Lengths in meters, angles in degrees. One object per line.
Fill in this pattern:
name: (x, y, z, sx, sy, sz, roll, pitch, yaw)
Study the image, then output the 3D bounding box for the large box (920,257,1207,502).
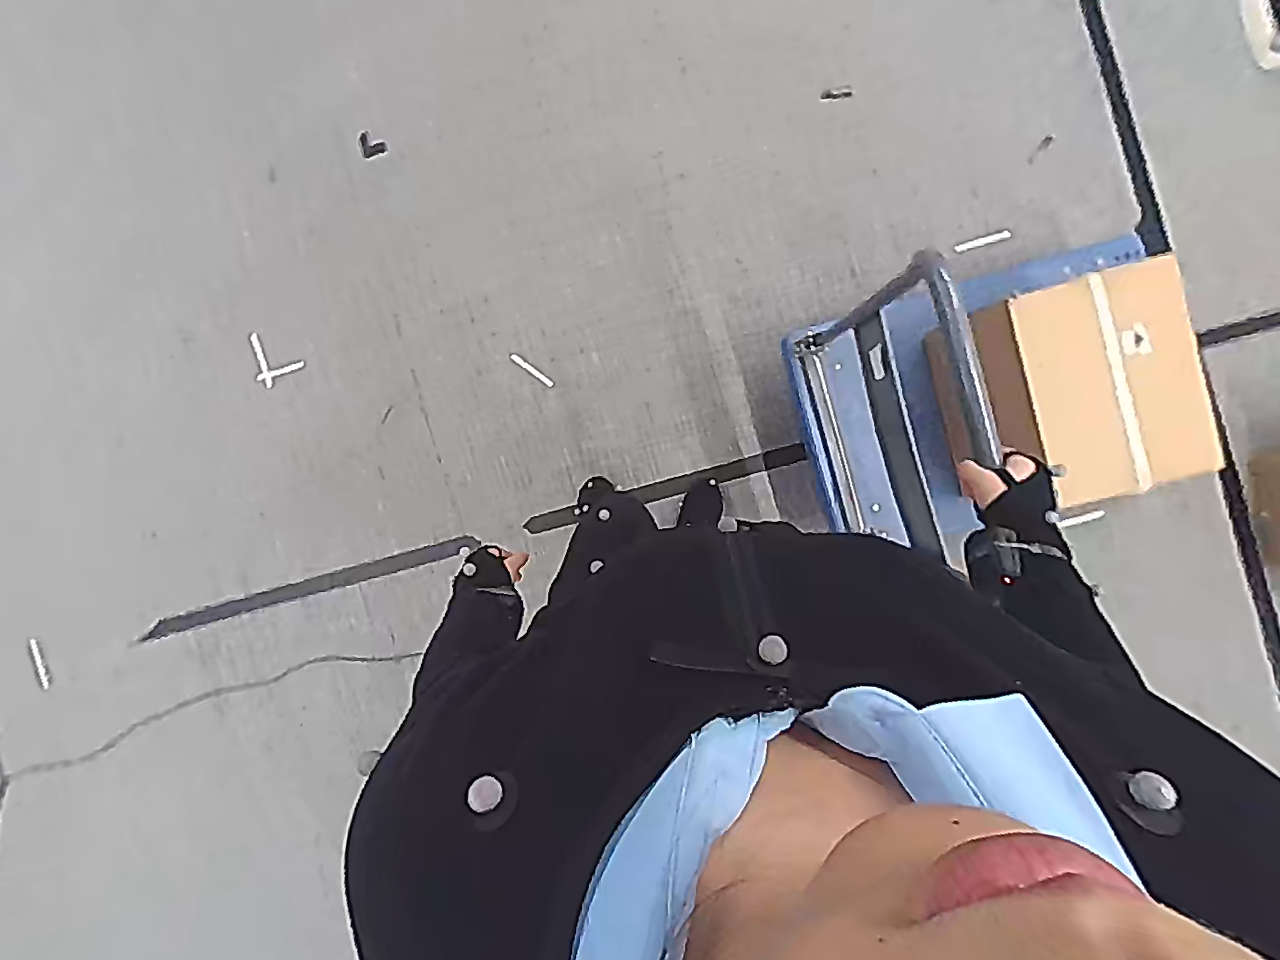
large box: (0.868, -0.190, 1.163, 0.320, 0.320, 0.408, -15, 90, 1)
